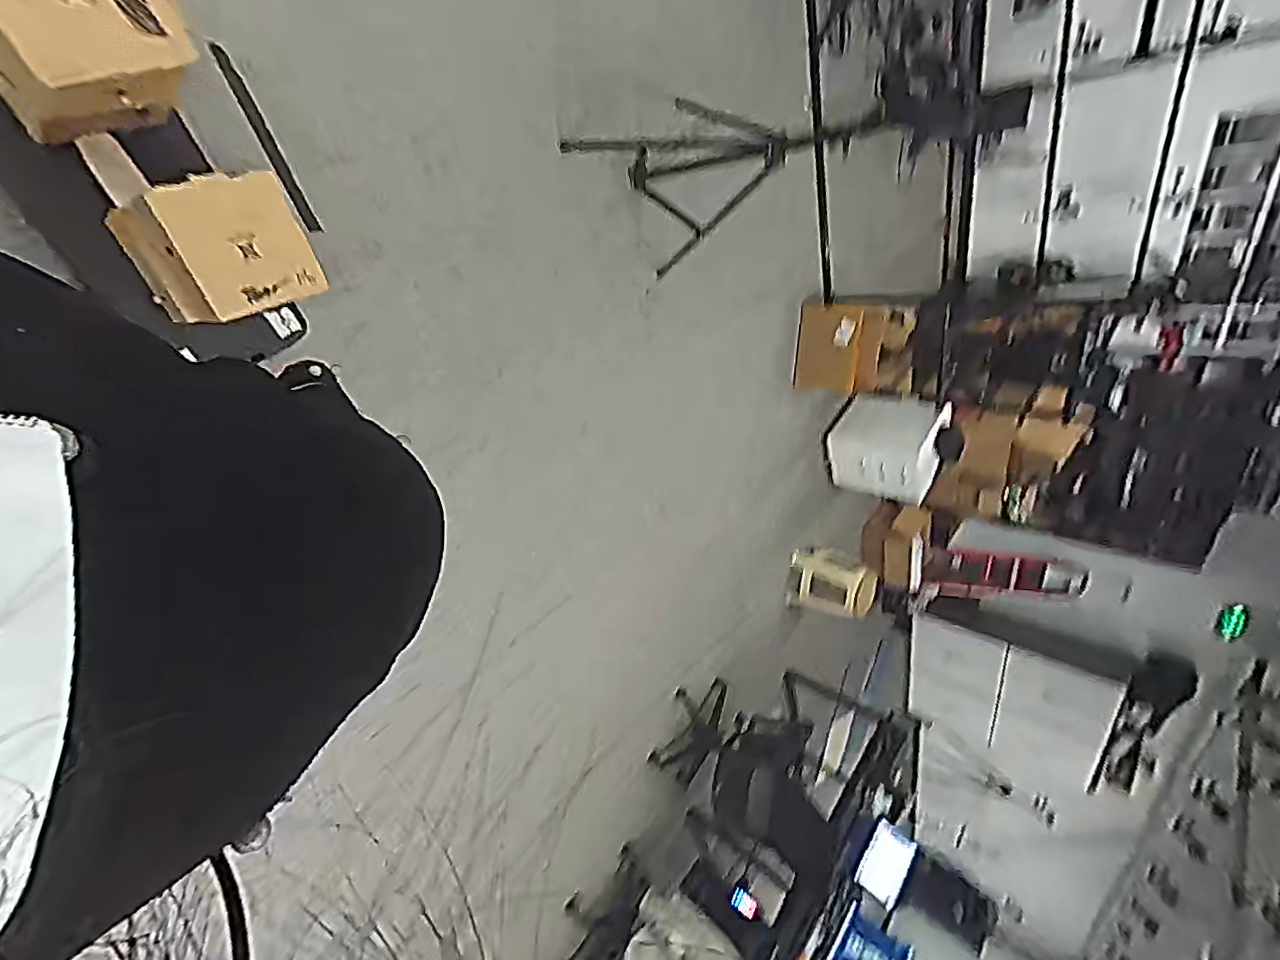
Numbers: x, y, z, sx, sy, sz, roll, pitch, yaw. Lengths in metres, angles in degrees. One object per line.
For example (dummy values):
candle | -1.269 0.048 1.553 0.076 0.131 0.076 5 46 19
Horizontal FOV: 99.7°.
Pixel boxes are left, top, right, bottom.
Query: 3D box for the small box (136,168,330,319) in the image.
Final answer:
small box | -0.629 -0.358 0.837 0.168 0.176 0.179 -37 126 -35

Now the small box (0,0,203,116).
small box | -0.707 -0.580 0.675 0.179 0.176 0.168 -41 130 -31

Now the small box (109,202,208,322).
small box | -0.760 -0.385 0.934 0.168 0.176 0.179 -39 126 -34

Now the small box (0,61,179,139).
small box | -0.829 -0.611 0.780 0.179 0.176 0.168 -41 129 -32
